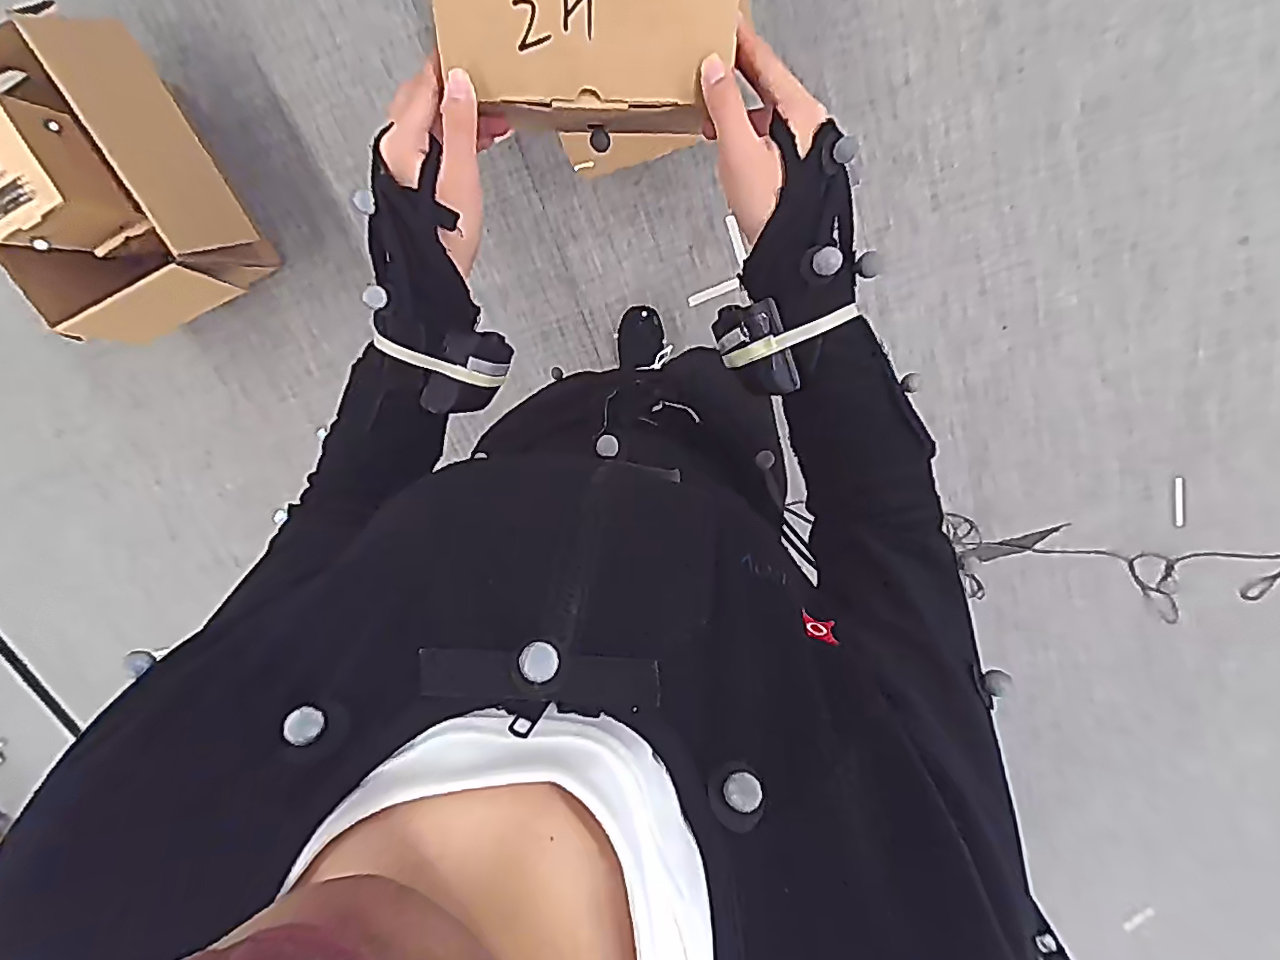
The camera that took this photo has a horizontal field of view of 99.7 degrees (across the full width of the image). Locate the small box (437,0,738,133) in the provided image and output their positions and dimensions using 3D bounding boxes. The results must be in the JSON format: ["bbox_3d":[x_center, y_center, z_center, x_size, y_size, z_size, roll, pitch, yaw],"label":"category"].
[{"bbox_3d":[-0.028,-0.335,0.343,0.168,0.176,0.179,1,118,-1],"label":"small box"}]
